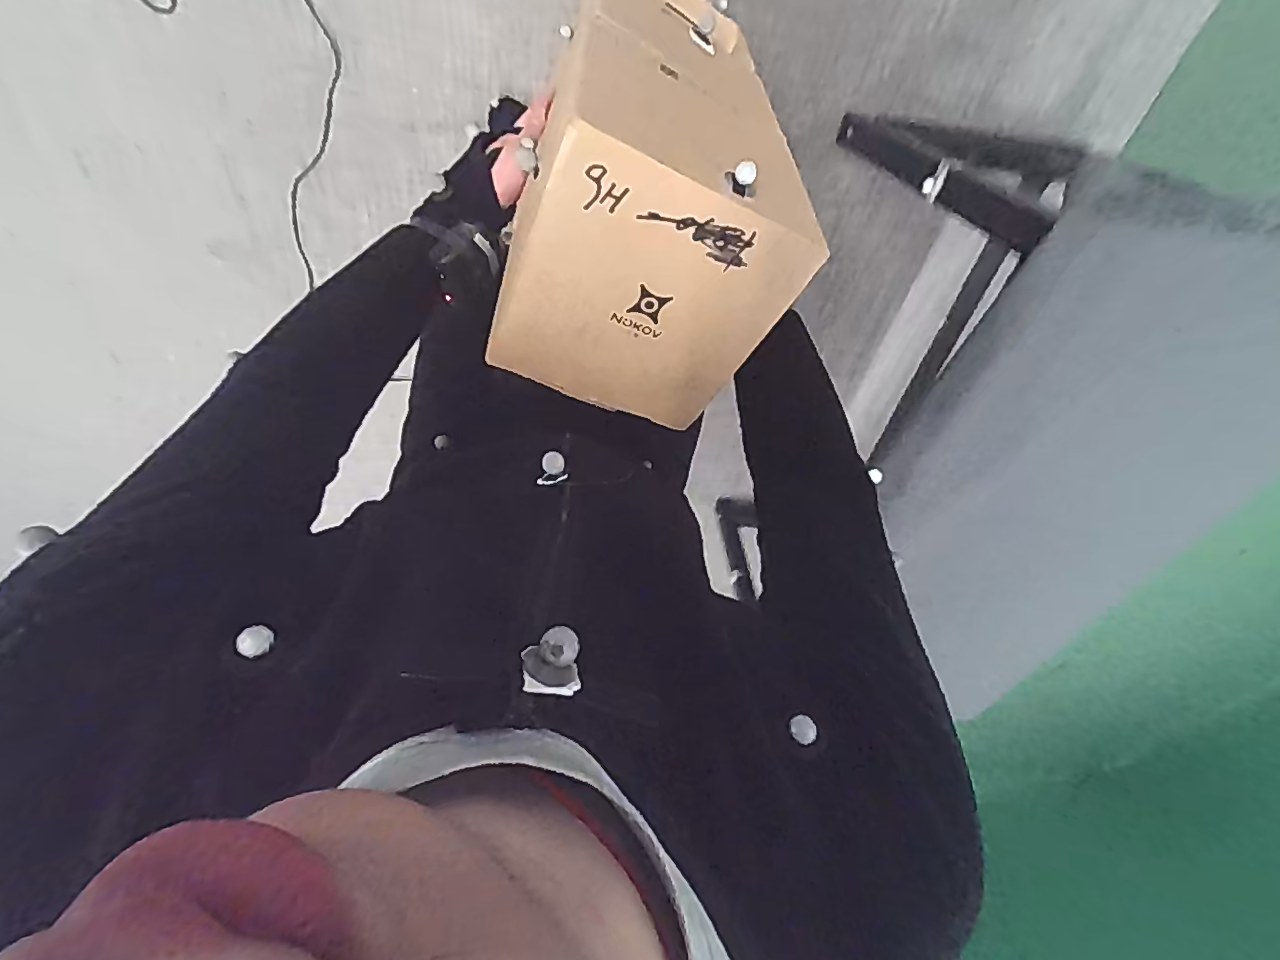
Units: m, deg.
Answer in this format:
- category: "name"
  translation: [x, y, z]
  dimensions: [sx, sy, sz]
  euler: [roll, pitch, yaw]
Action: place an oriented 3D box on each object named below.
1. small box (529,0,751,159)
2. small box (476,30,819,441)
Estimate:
- category: "small box"
  translation: [-0.007, -0.420, 0.586]
  dimensions: [0.168, 0.176, 0.179]
  euler: [19, 138, -21]
- category: "small box"
  translation: [-0.005, -0.162, 0.386]
  dimensions: [0.168, 0.176, 0.179]
  euler: [15, 141, -20]
